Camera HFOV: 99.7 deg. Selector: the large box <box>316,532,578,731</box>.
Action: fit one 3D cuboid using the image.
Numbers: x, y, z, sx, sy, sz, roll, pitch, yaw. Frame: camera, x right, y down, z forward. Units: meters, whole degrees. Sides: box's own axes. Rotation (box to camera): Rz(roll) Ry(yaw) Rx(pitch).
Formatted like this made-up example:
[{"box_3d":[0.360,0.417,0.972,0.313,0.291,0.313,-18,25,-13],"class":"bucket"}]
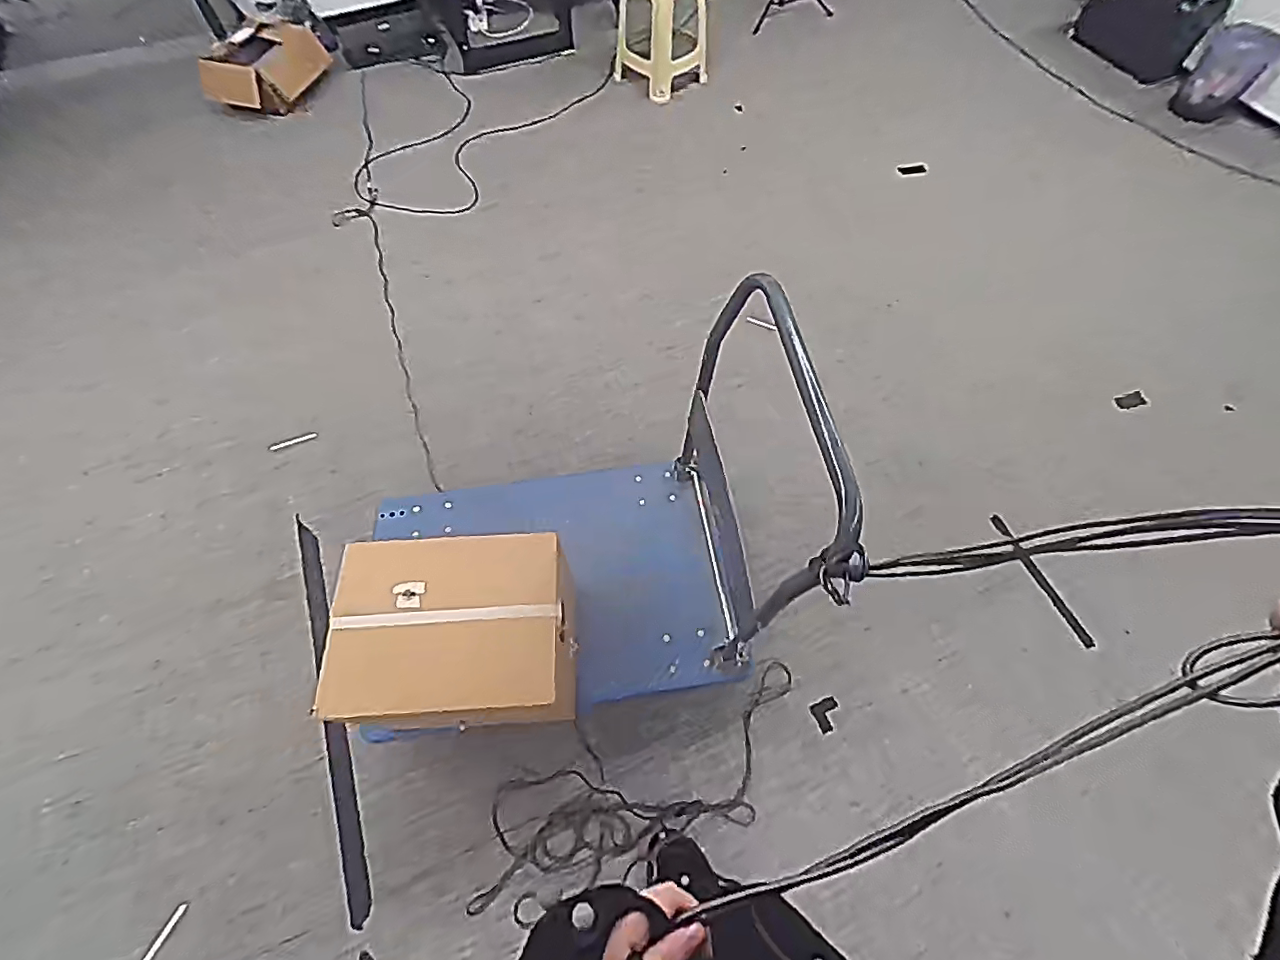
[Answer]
[{"box_3d":[-0.345,0.319,1.093,0.408,0.320,0.320,-4,61,-2],"class":"large box"}]
